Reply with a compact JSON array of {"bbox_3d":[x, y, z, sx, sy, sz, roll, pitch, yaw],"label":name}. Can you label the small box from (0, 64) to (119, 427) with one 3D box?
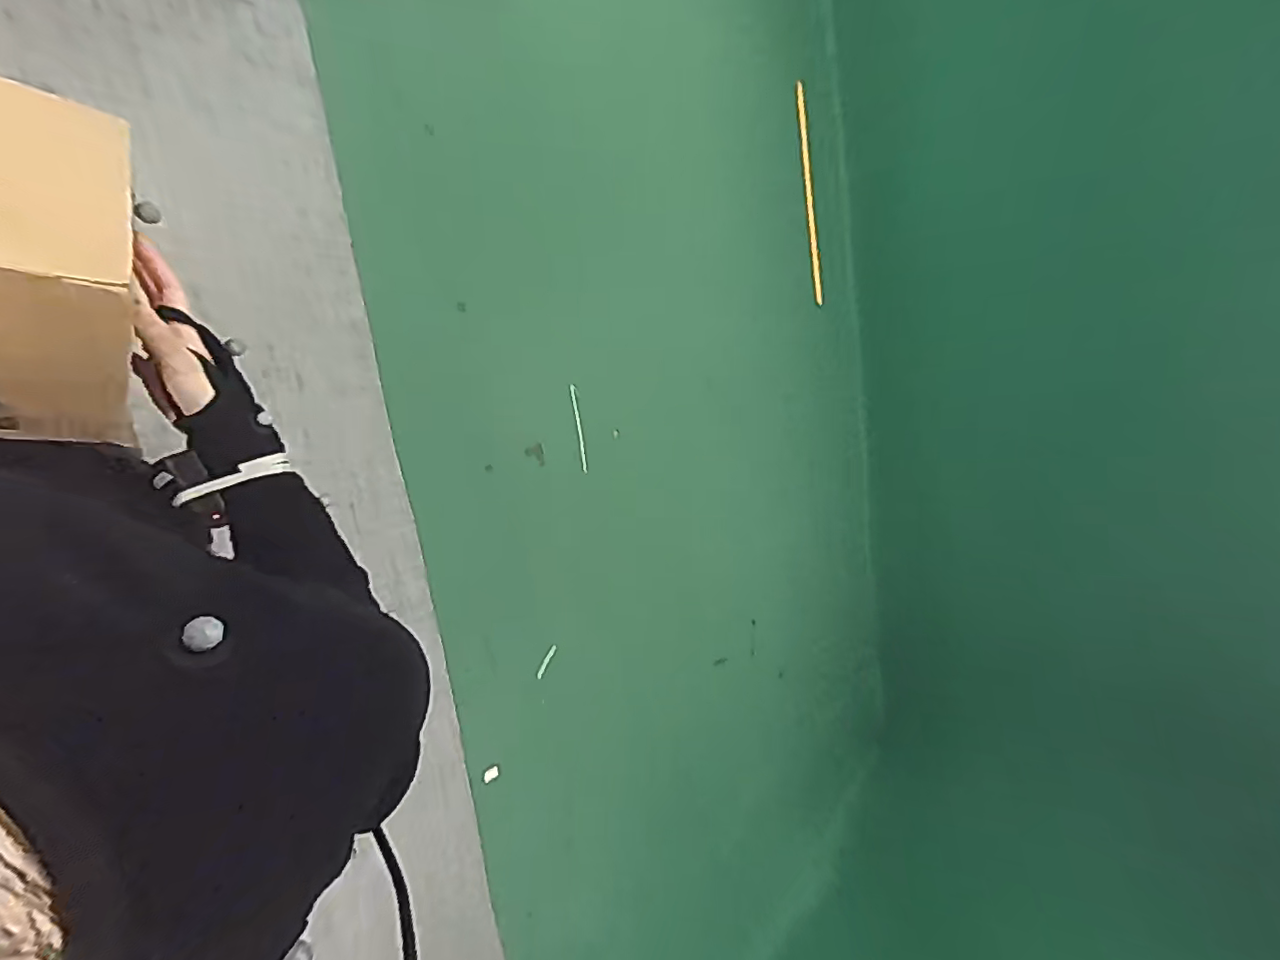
[{"bbox_3d":[-0.457,-0.158,0.350,0.168,0.176,0.179,1,60,-47],"label":"small box"}]
